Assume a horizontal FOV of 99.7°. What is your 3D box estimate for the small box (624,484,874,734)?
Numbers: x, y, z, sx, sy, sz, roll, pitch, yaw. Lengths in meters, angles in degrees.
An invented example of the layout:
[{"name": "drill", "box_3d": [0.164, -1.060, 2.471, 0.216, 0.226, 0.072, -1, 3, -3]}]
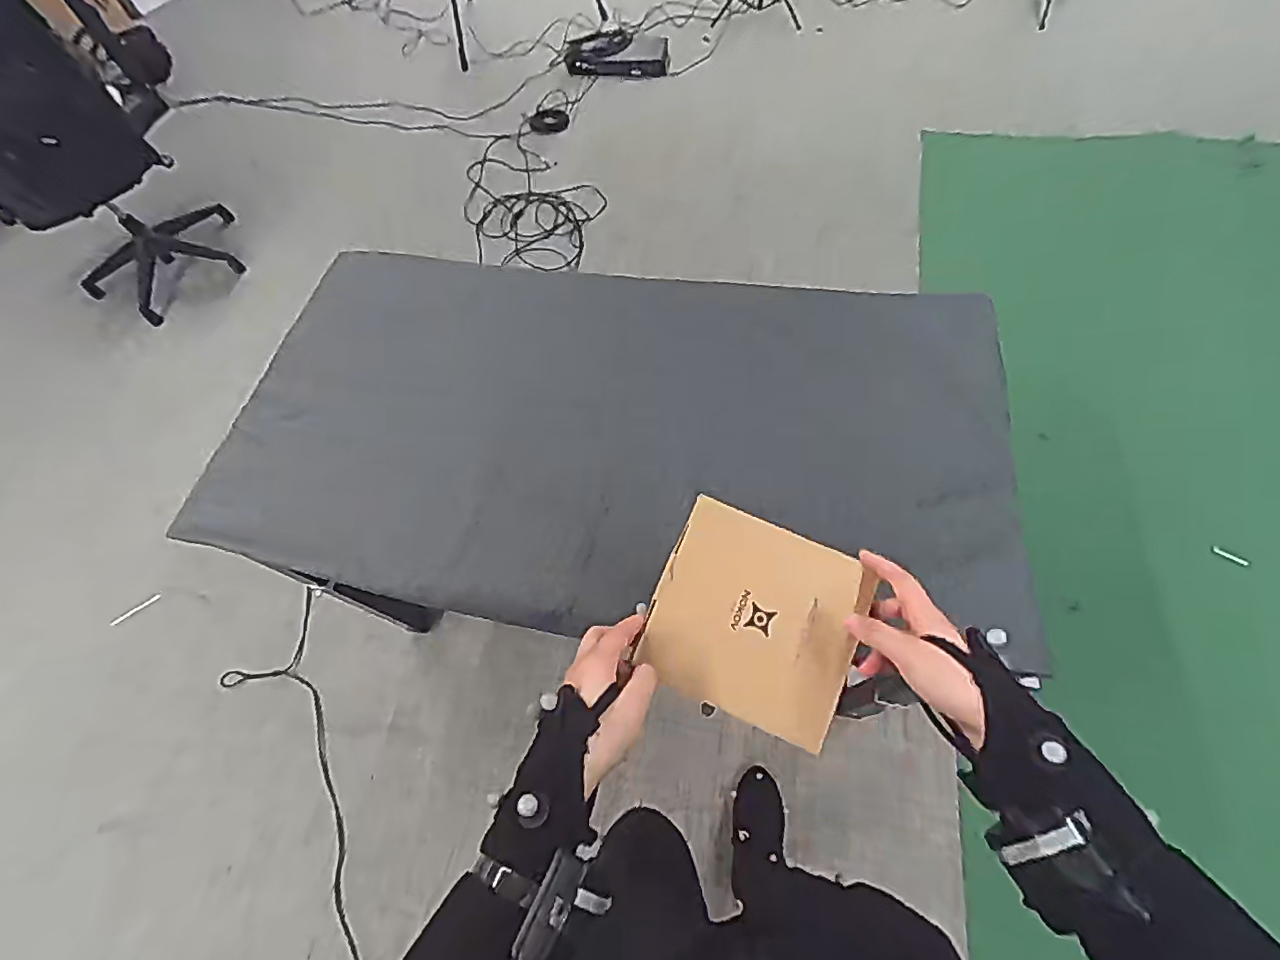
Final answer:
[{"name": "small box", "box_3d": [0.098, 0.124, 0.545, 0.179, 0.176, 0.168, 21, 79, 7]}]
